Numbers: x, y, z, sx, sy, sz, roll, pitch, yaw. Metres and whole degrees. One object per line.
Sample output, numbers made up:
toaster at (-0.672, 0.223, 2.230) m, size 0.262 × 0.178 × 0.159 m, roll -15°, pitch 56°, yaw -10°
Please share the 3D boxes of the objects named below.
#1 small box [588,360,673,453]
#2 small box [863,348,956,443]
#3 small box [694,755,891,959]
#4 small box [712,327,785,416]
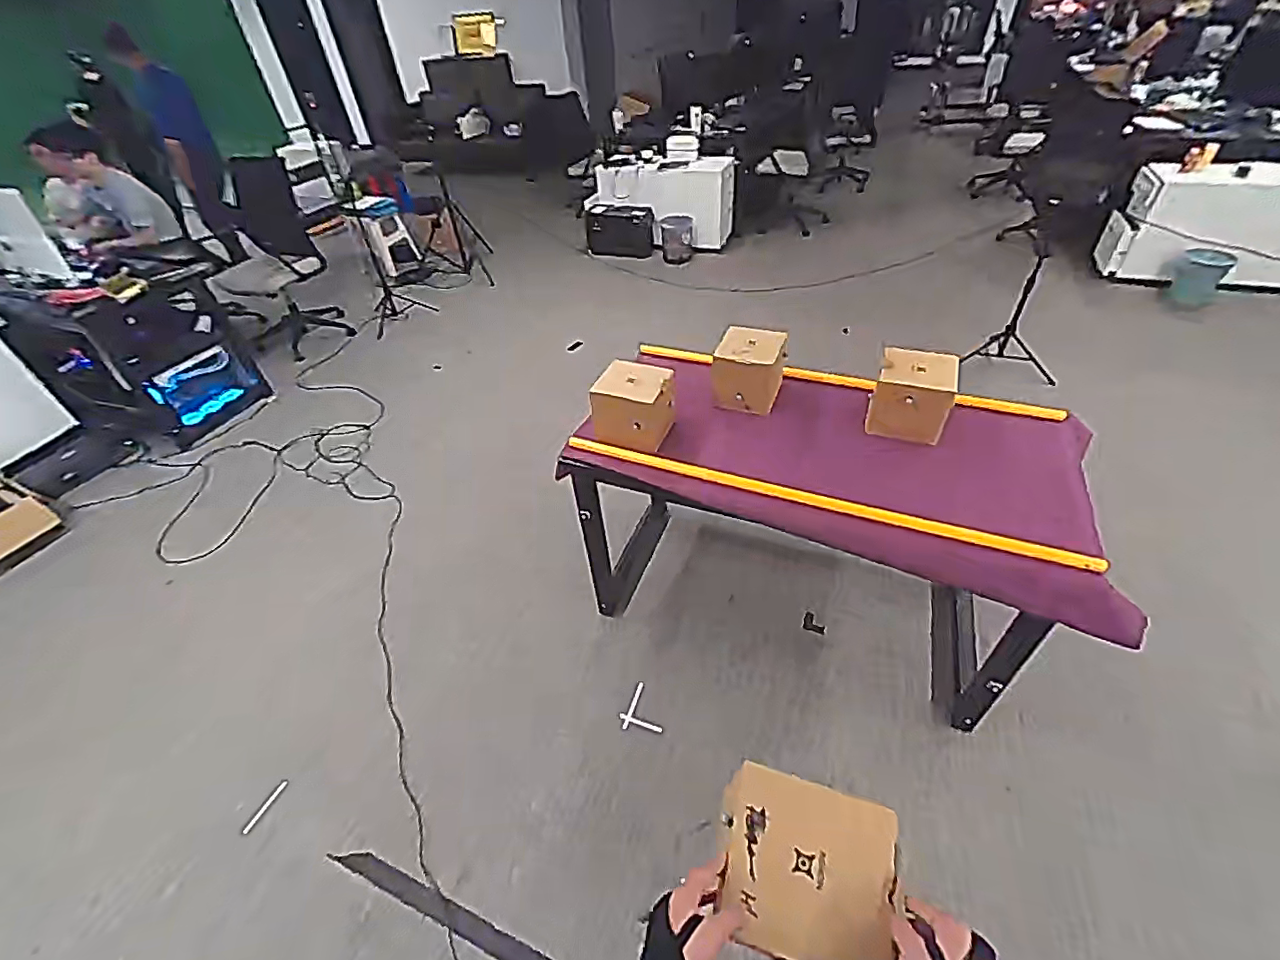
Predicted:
small box at (-0.020, -0.193, 1.441) m, size 0.179 × 0.176 × 0.168 m, roll 14°, pitch 46°, yaw 17°
small box at (0.693, -0.216, 1.395) m, size 0.179 × 0.176 × 0.168 m, roll 13°, pitch 47°, yaw 20°
small box at (0.174, 0.456, 0.641) m, size 0.179 × 0.176 × 0.168 m, roll 15°, pitch 53°, yaw 10°
small box at (0.305, -0.310, 1.536) m, size 0.168 × 0.176 × 0.179 m, roll 13°, pitch 48°, yaw 20°
